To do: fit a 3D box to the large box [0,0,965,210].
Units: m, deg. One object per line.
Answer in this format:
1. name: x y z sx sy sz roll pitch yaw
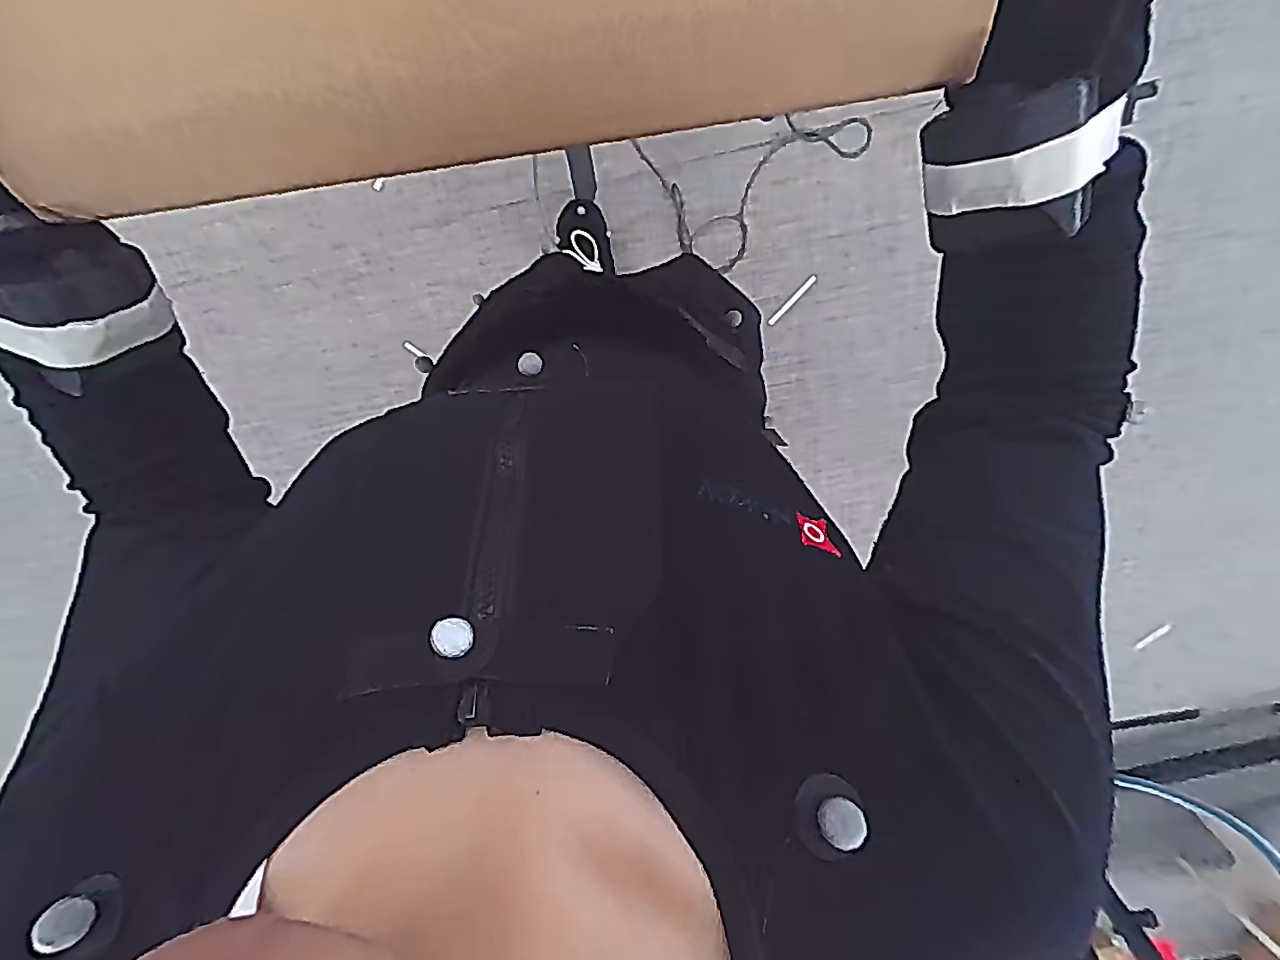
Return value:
1. large box: -0.091 -0.361 0.225 0.408 0.320 0.320 -7 137 2
